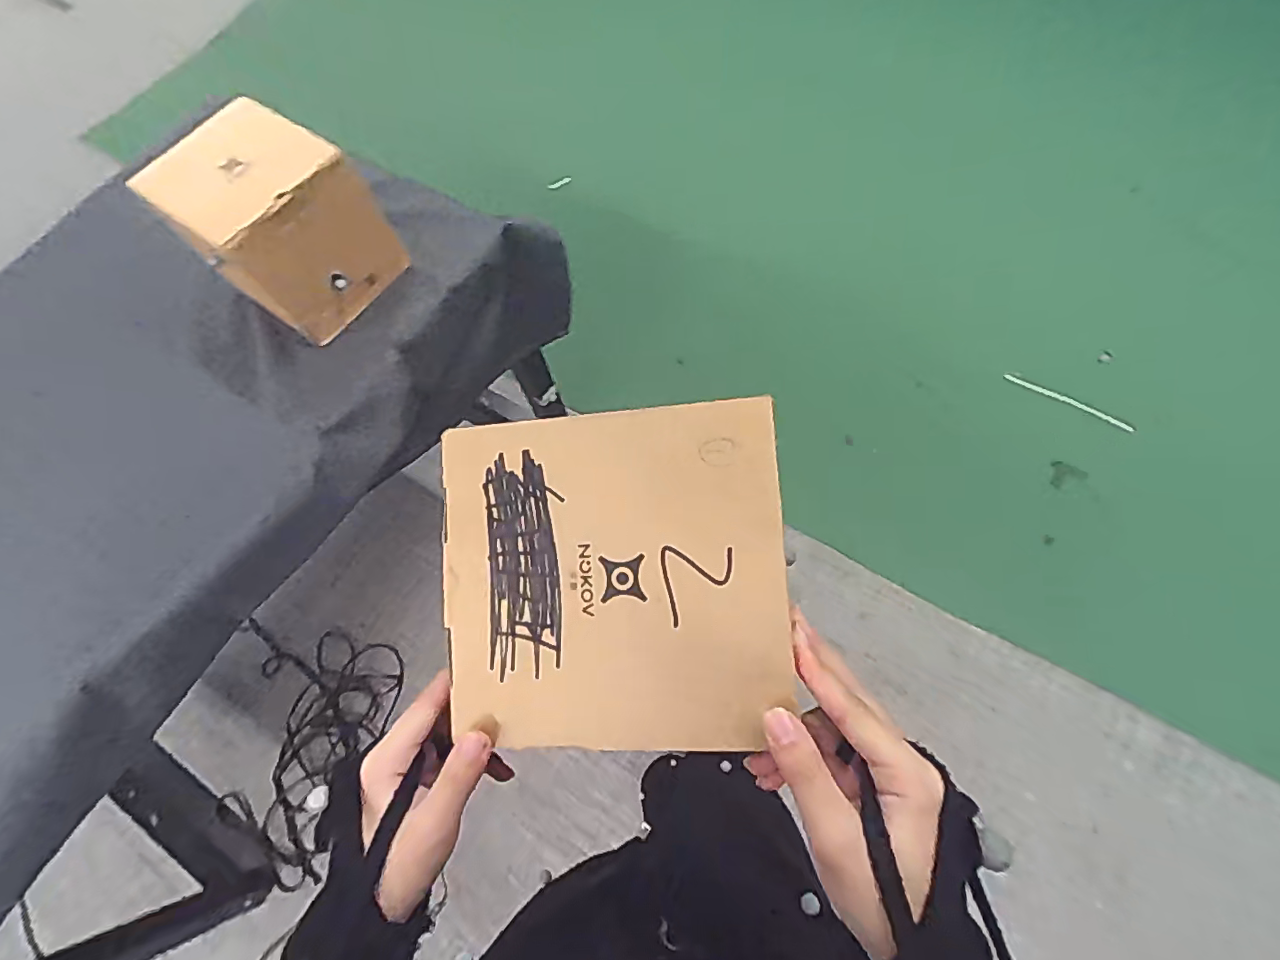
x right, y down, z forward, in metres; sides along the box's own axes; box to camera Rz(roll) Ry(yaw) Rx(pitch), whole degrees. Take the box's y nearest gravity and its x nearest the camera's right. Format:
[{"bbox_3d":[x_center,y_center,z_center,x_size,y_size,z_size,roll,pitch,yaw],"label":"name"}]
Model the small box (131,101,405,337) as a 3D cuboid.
[{"bbox_3d":[-0.432,-0.307,0.658,0.179,0.176,0.168,32,74,15],"label":"small box"}]
